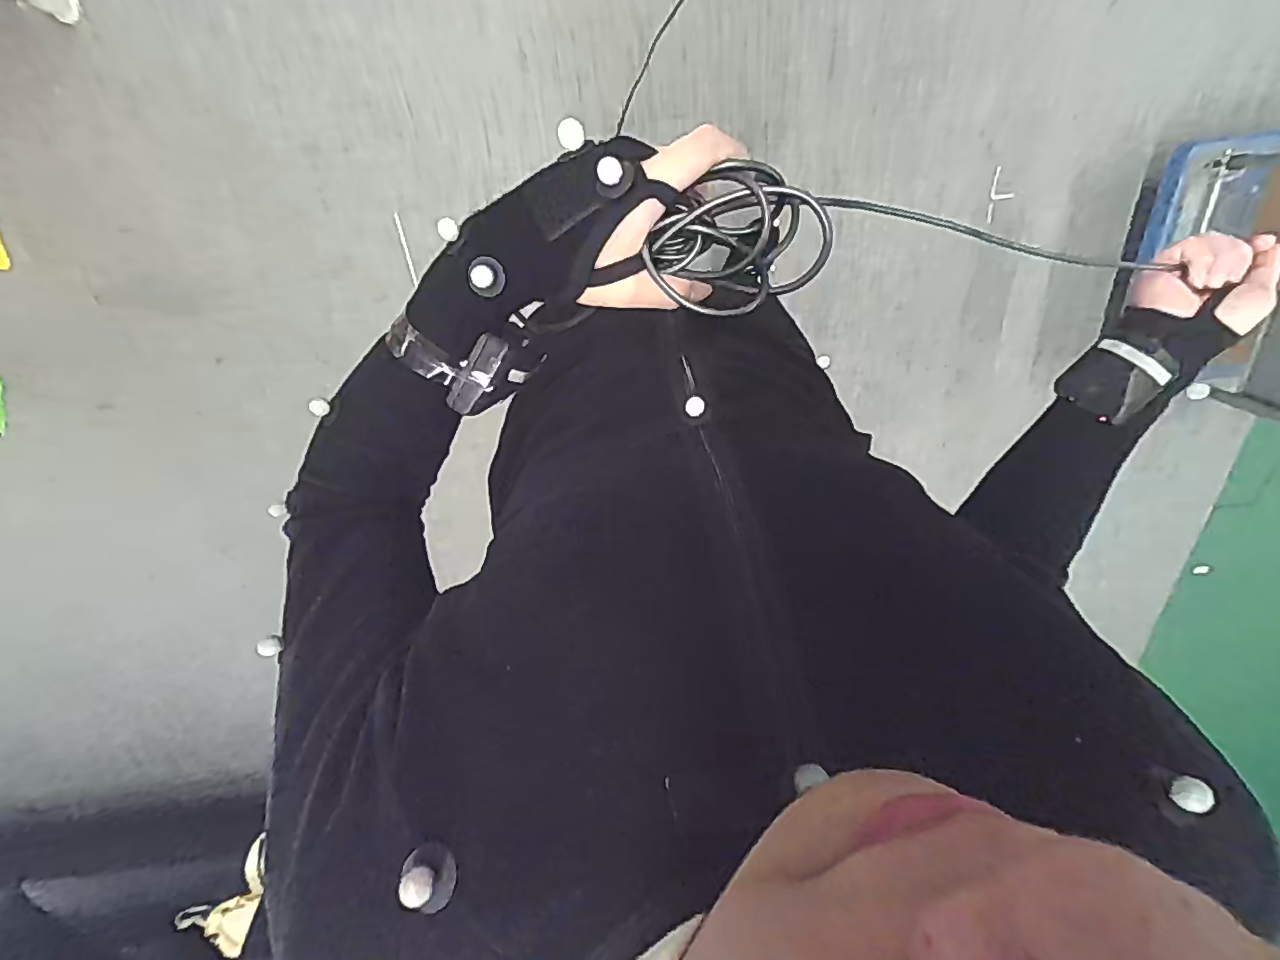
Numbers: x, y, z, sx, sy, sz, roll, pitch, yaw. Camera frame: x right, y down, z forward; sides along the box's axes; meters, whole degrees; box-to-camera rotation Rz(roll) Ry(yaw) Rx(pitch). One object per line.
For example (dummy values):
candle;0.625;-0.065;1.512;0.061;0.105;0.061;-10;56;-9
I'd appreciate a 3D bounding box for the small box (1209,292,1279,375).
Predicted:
small box;1.582;-0.364;1.319;0.179;0.176;0.168;-4;117;1
